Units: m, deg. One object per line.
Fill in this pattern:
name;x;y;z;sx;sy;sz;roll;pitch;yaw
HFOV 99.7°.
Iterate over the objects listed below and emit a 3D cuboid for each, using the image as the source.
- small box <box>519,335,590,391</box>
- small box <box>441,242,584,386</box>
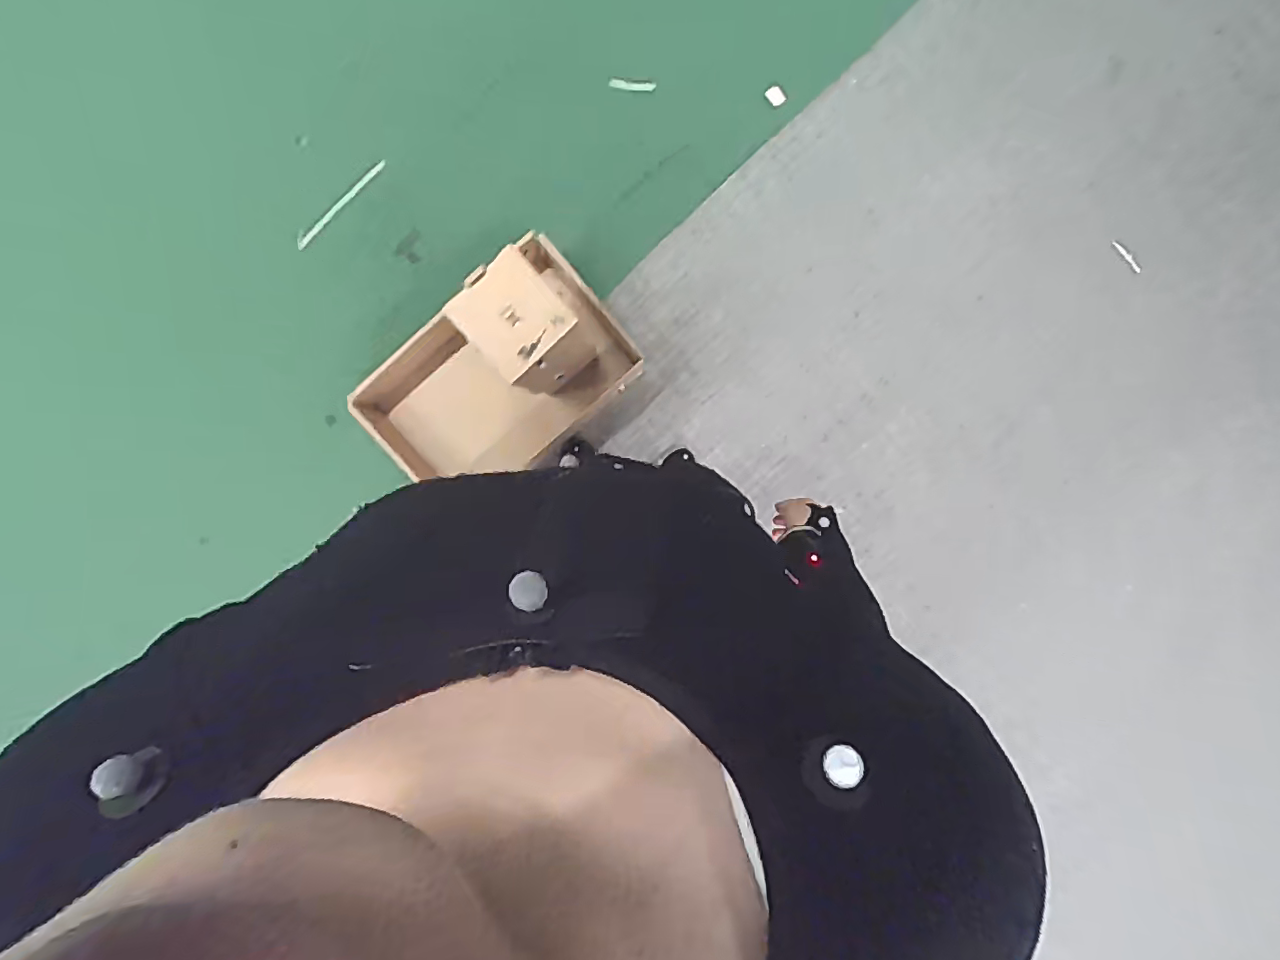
small box;-0.226;-0.306;1.156;0.168;0.176;0.179;-40;96;3
small box;-0.222;-0.290;0.992;0.168;0.176;0.179;-43;94;4
